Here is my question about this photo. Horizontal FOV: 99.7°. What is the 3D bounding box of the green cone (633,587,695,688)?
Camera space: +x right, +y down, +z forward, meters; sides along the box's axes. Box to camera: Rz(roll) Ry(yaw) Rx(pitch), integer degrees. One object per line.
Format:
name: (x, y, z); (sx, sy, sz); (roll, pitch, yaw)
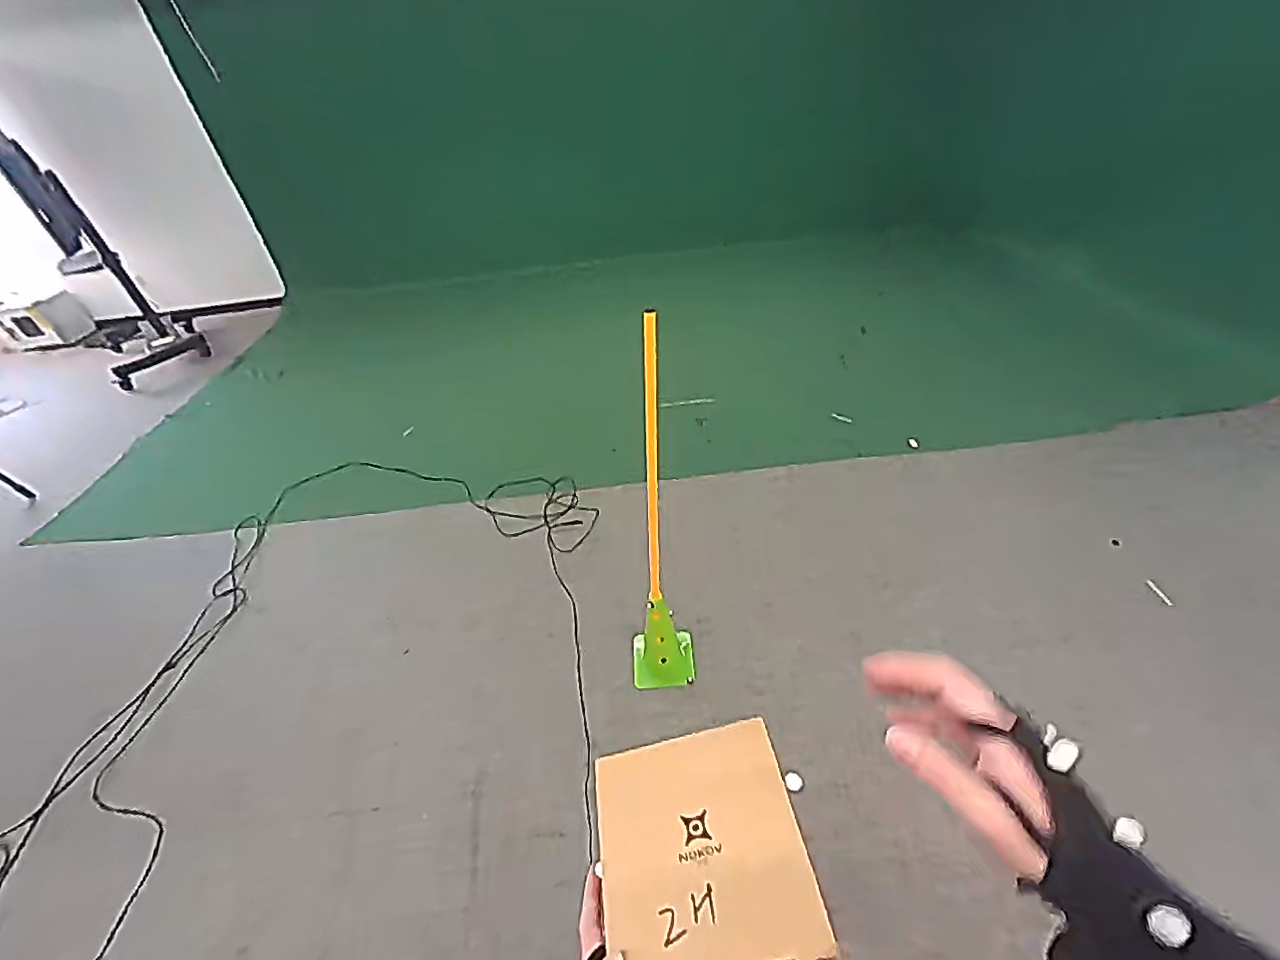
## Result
green cone: (0.058, 0.466, 1.707); (0.202, 0.368, 0.200); (-6, 39, 3)
